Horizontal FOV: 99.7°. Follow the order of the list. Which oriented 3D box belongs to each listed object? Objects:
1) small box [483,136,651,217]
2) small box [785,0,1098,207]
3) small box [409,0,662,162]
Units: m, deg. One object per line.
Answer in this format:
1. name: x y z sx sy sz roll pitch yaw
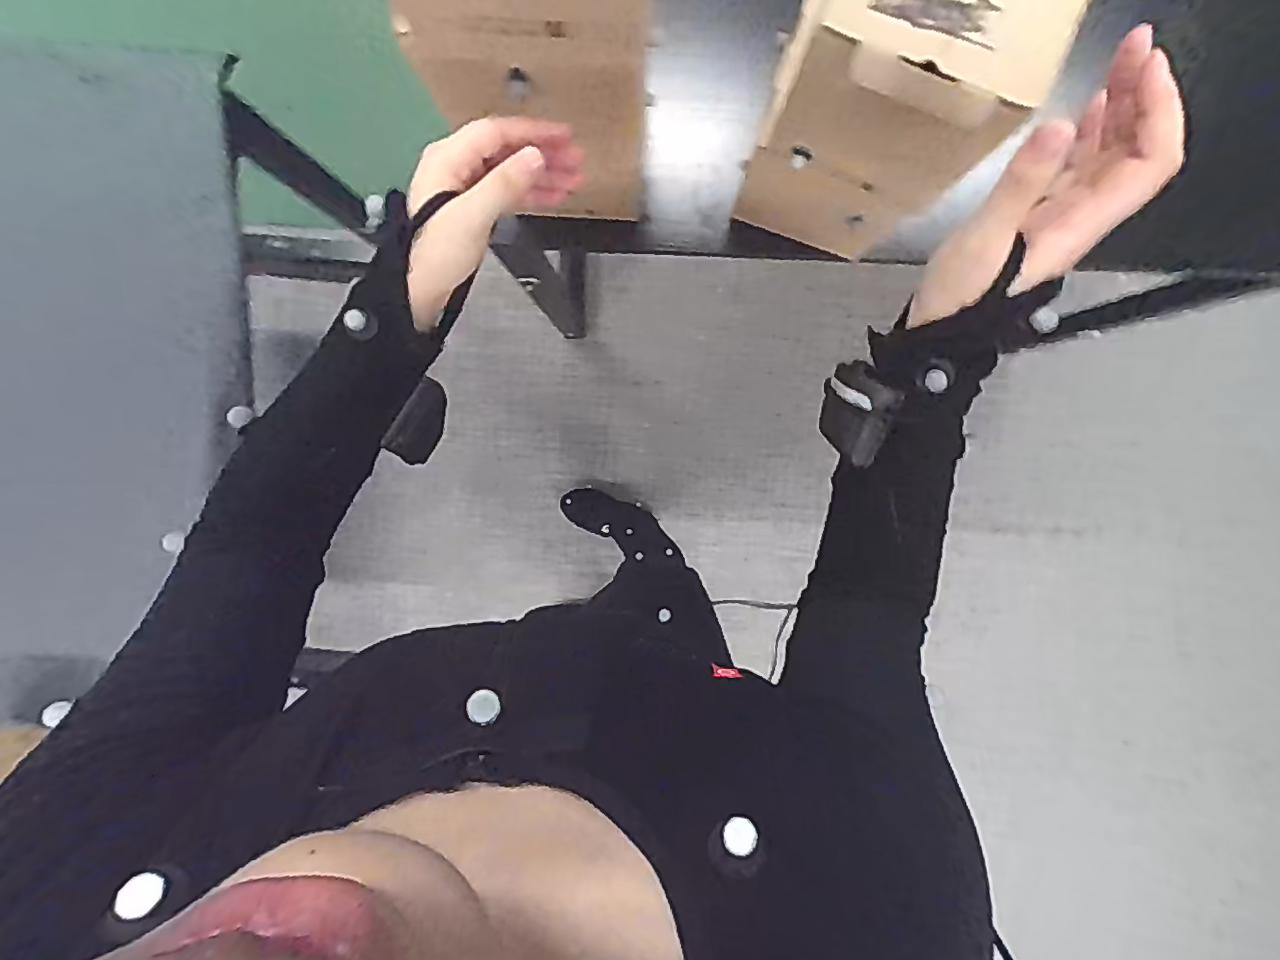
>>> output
1. small box: -0.071 -0.419 0.611 0.168 0.176 0.179 4 94 0
2. small box: 0.235 -0.361 0.443 0.168 0.176 0.179 22 94 -1
3. small box: -0.069 -0.391 0.450 0.179 0.176 0.168 3 95 1
